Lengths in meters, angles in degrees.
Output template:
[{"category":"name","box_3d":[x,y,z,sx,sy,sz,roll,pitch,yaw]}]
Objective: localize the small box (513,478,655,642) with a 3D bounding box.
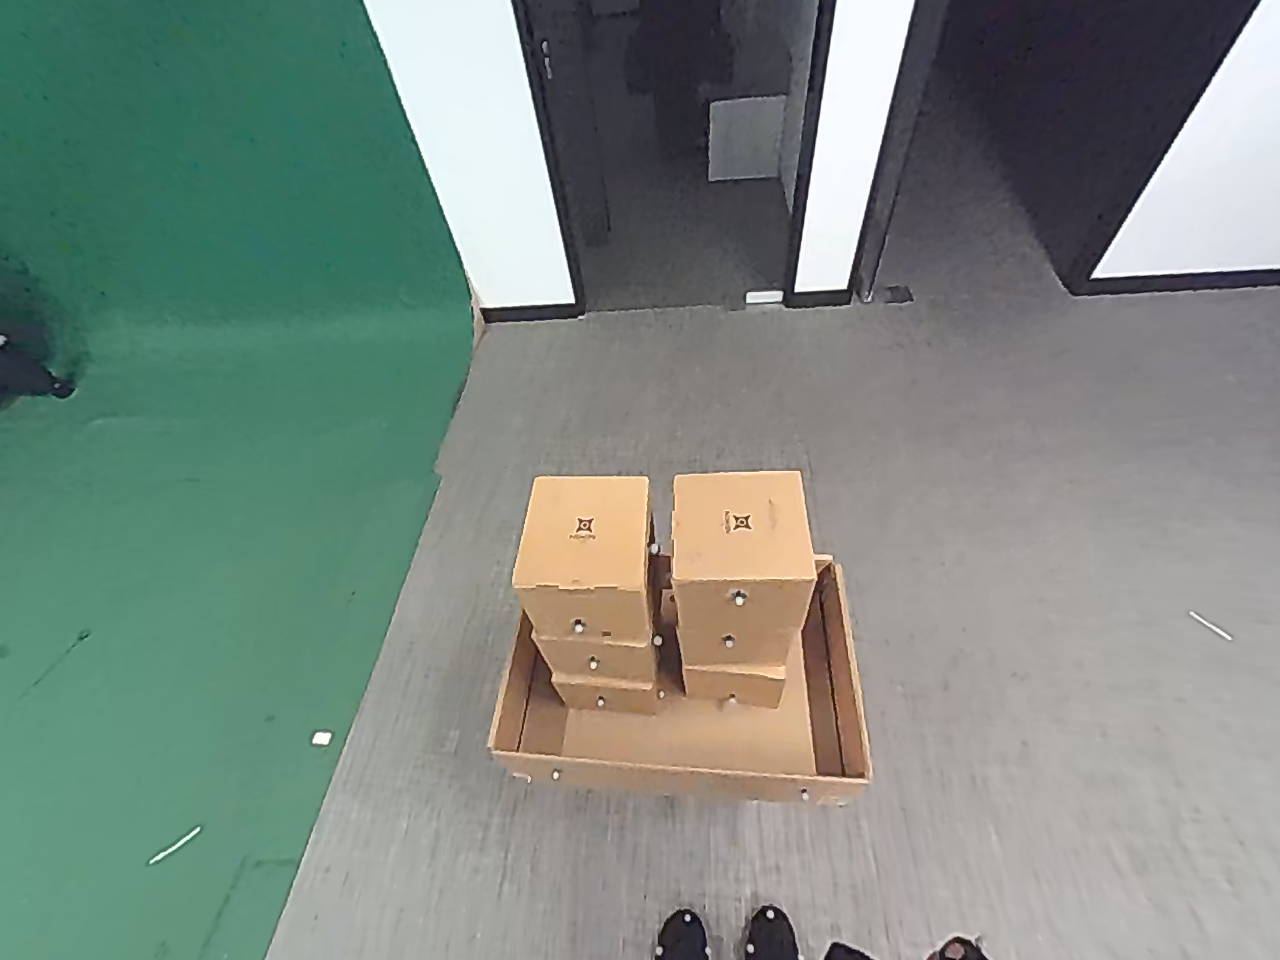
[{"category":"small box","box_3d":[-0.067,0.115,0.778,0.168,0.176,0.179,0,52,6]}]
